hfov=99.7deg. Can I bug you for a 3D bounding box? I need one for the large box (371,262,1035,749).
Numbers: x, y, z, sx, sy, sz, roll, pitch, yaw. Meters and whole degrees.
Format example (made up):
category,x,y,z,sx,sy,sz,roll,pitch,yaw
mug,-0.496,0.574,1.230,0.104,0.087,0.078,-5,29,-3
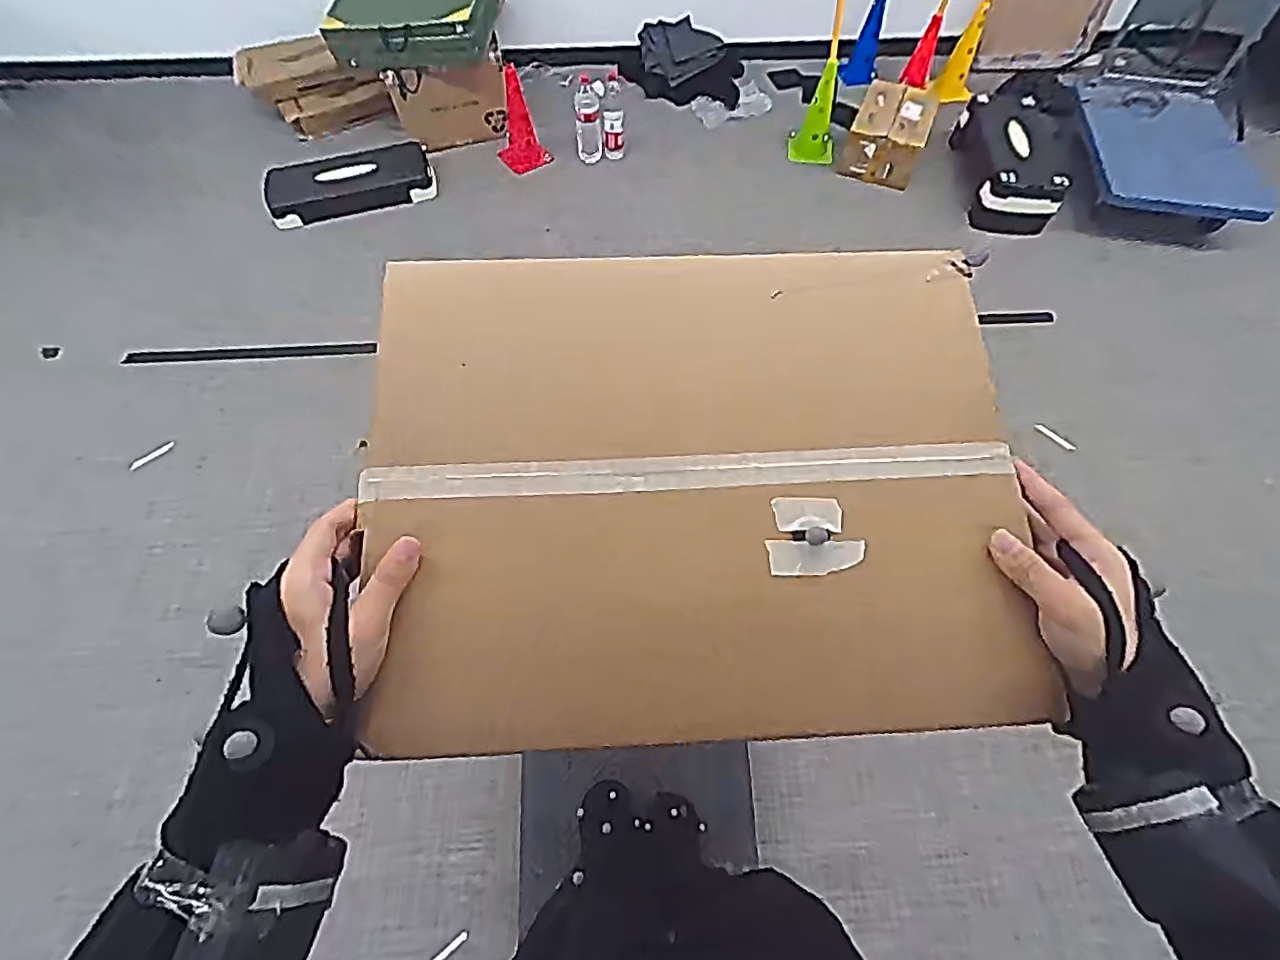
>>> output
category,x,y,z,sx,sy,sz,roll,pitch,yaw
large box,0.027,0.033,0.497,0.408,0.320,0.320,-2,76,-3
